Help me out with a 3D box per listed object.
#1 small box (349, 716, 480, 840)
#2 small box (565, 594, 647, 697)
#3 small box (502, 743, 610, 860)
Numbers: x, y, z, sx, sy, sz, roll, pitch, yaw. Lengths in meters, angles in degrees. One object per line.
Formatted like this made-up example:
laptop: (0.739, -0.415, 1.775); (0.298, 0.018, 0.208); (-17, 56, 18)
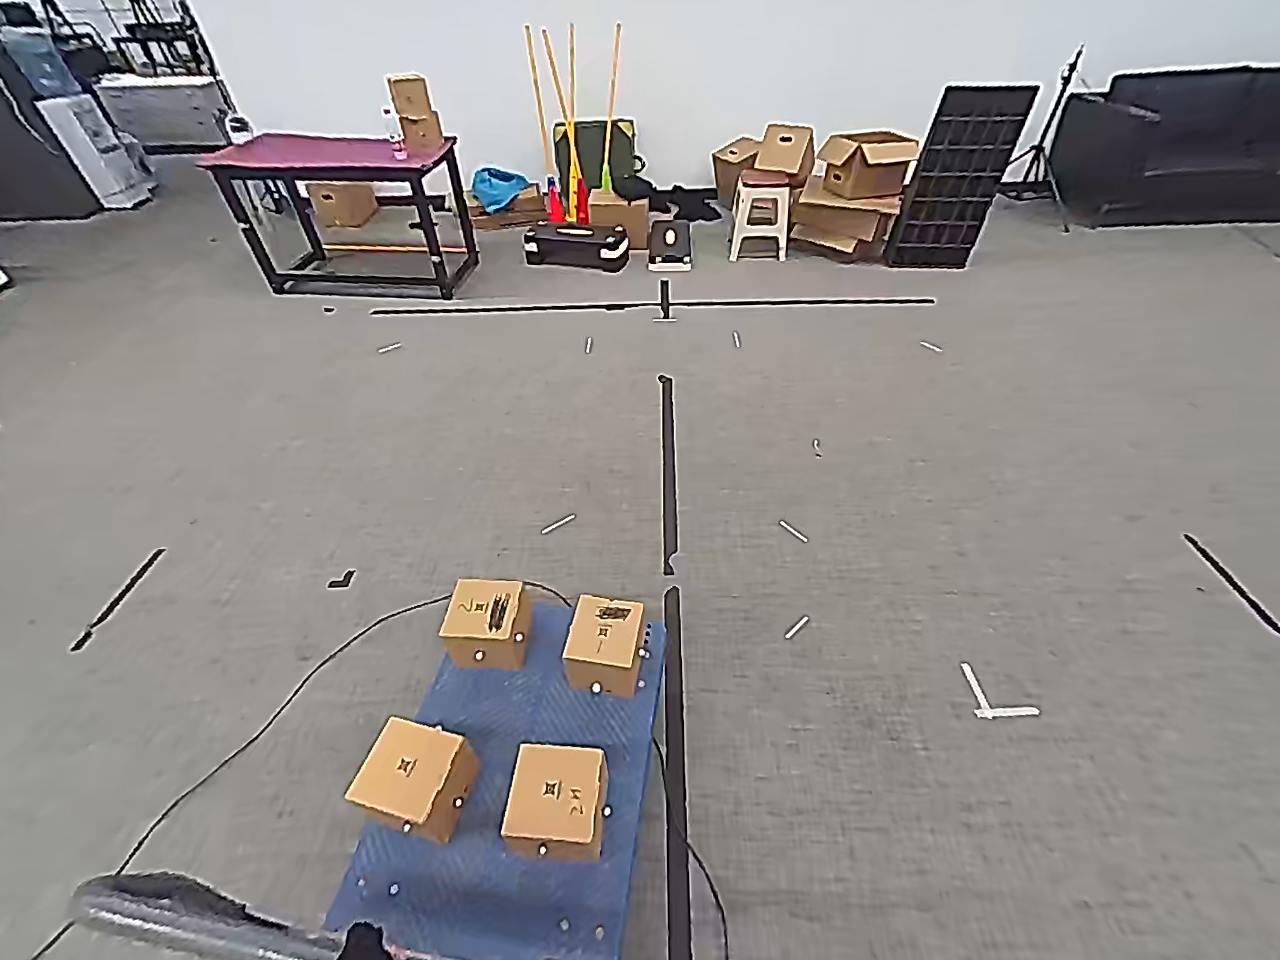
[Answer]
small box: (-0.467, 0.634, 1.146); (0.179, 0.176, 0.168); (11, 45, 10)
small box: (-0.079, 0.415, 1.357); (0.168, 0.176, 0.179); (7, 46, 8)
small box: (-0.162, 0.661, 1.109); (0.179, 0.176, 0.168); (3, 45, 4)
